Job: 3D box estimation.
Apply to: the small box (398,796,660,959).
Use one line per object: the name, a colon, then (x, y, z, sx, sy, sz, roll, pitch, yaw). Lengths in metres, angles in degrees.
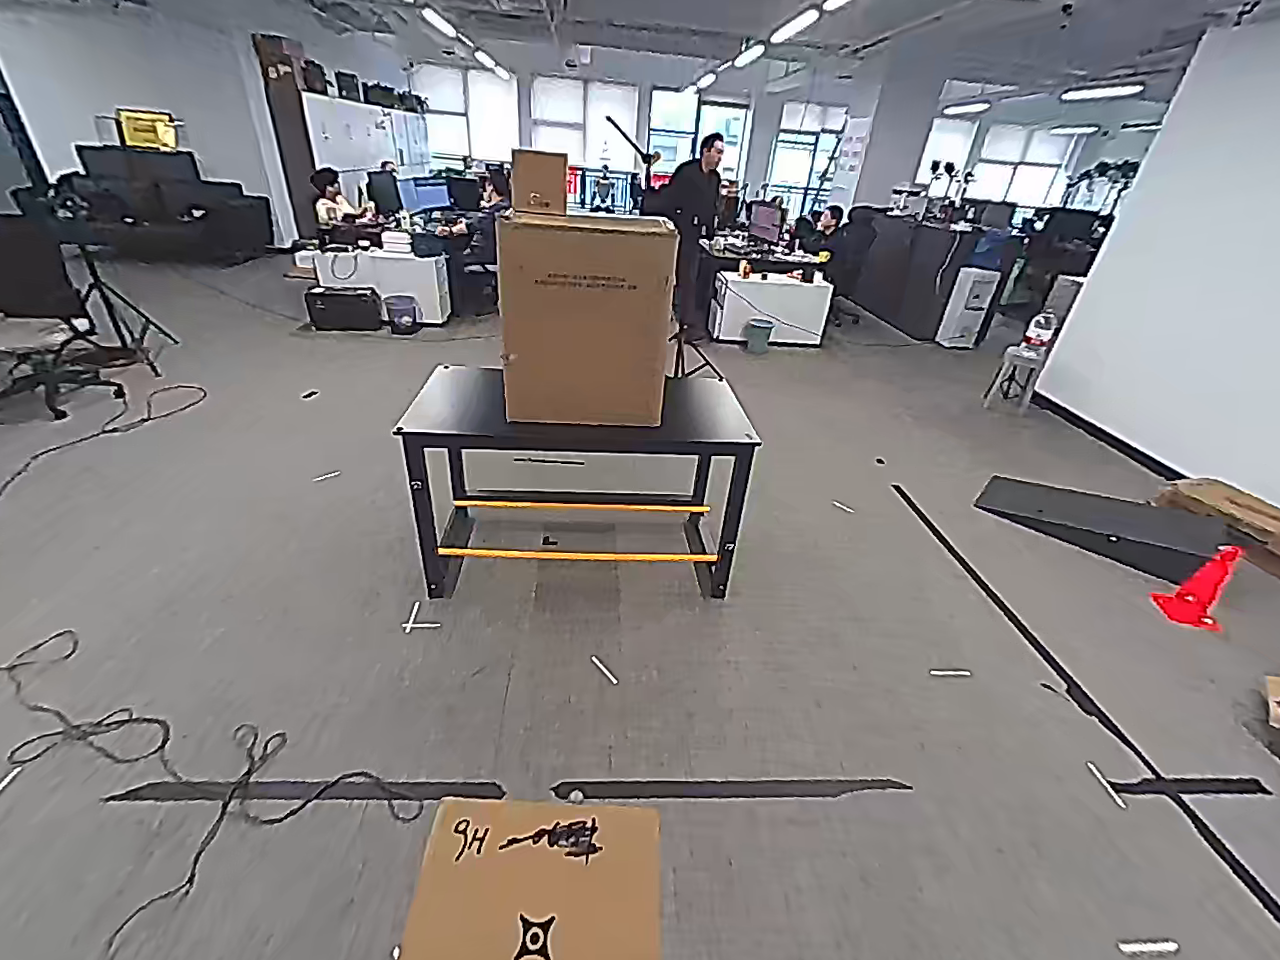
small box: (-0.074, 0.357, 0.395, 0.168, 0.176, 0.179, 4, 44, -2)

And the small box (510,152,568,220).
small box: (-0.311, -0.916, 1.682, 0.168, 0.176, 0.179, -1, 31, -7)
